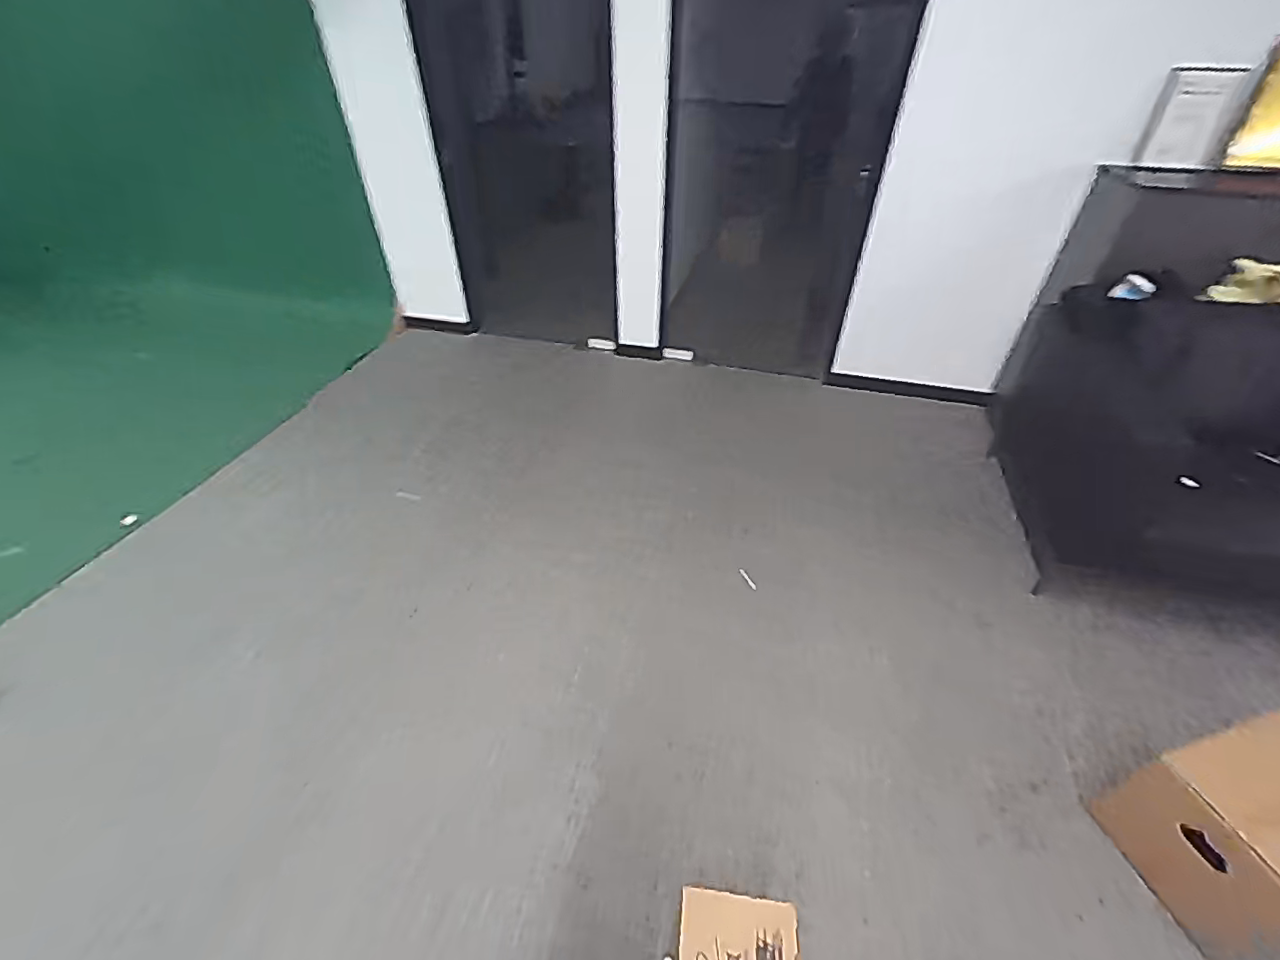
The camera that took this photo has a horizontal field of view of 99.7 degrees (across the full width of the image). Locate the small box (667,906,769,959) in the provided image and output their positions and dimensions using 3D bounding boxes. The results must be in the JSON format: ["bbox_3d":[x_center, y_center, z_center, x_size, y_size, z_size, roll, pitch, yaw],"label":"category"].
[{"bbox_3d":[0.125,0.885,0.935,0.168,0.176,0.179,9,40,7],"label":"small box"}]
